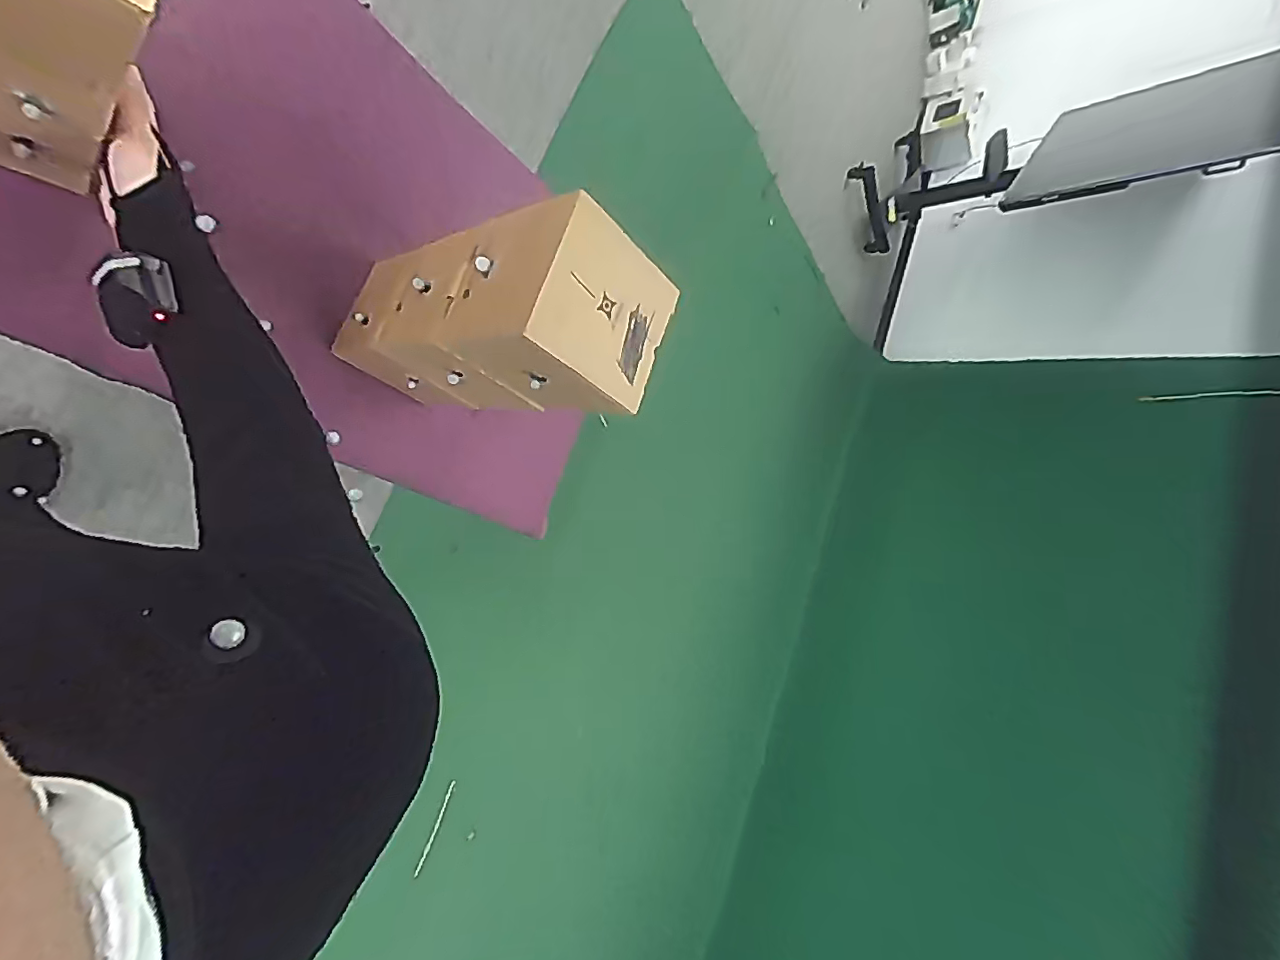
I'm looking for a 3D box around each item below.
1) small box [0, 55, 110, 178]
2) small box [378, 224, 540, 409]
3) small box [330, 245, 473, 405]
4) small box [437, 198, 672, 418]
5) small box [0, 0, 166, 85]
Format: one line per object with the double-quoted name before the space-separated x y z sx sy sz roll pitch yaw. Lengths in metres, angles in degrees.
"small box" -0.614 -0.407 0.495 0.179 0.176 0.168 11 89 -49
"small box" -0.221 -0.209 0.738 0.179 0.176 0.168 32 74 -46
"small box" -0.344 -0.230 0.845 0.179 0.176 0.168 35 72 -47
"small box" -0.097 -0.188 0.632 0.179 0.176 0.168 31 75 -46
"small box" -0.369 -0.353 0.286 0.179 0.176 0.168 9 92 -50
